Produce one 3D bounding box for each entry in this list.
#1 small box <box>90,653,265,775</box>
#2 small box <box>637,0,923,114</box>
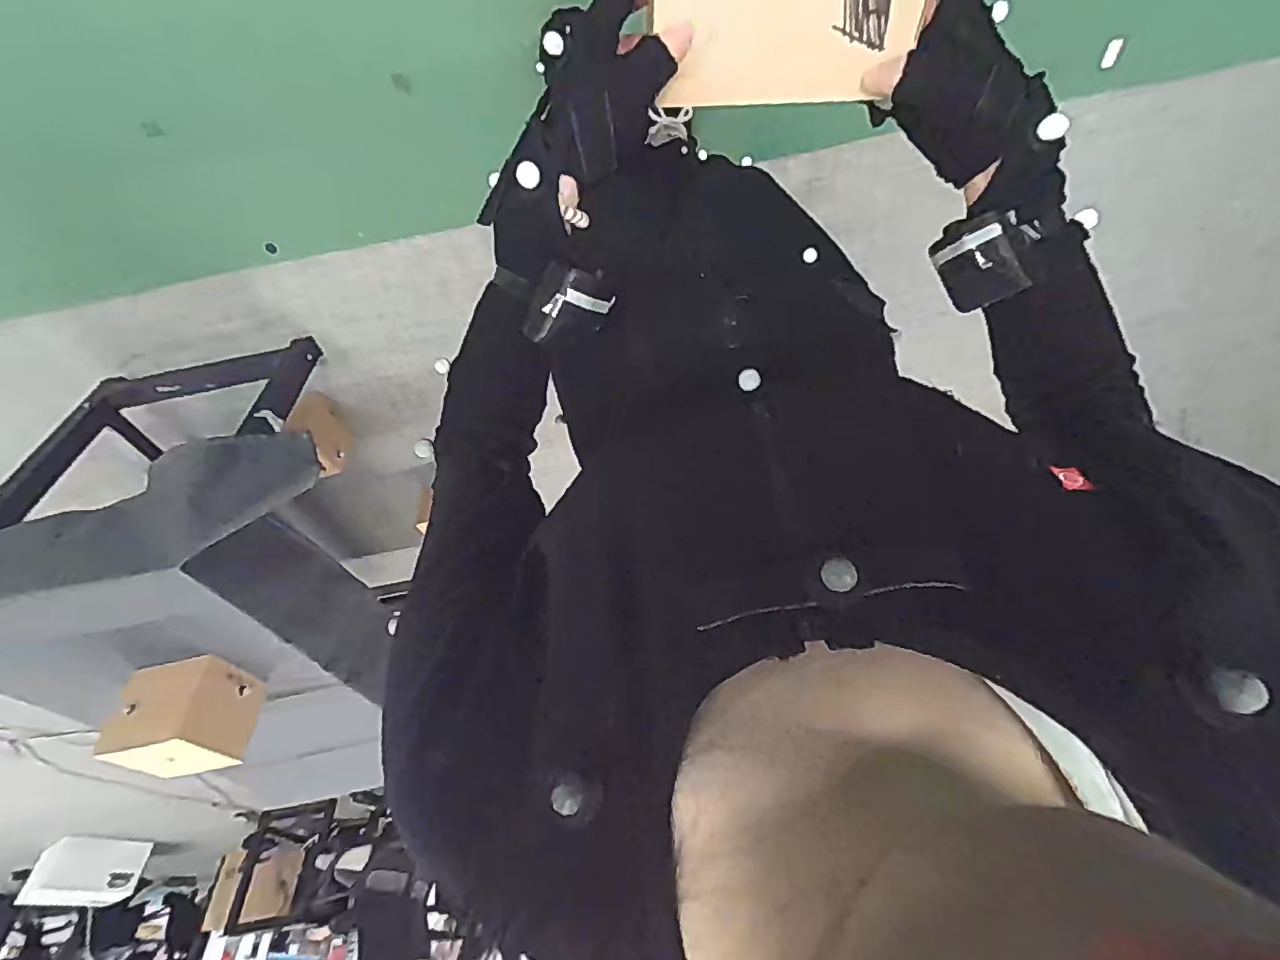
[{"bbox_3d":[-0.909,0.468,1.085,0.179,0.176,0.168,-13,138,4],"label":"small box"},{"bbox_3d":[0.087,-0.371,0.370,0.179,0.176,0.168,-1,138,0],"label":"small box"}]
